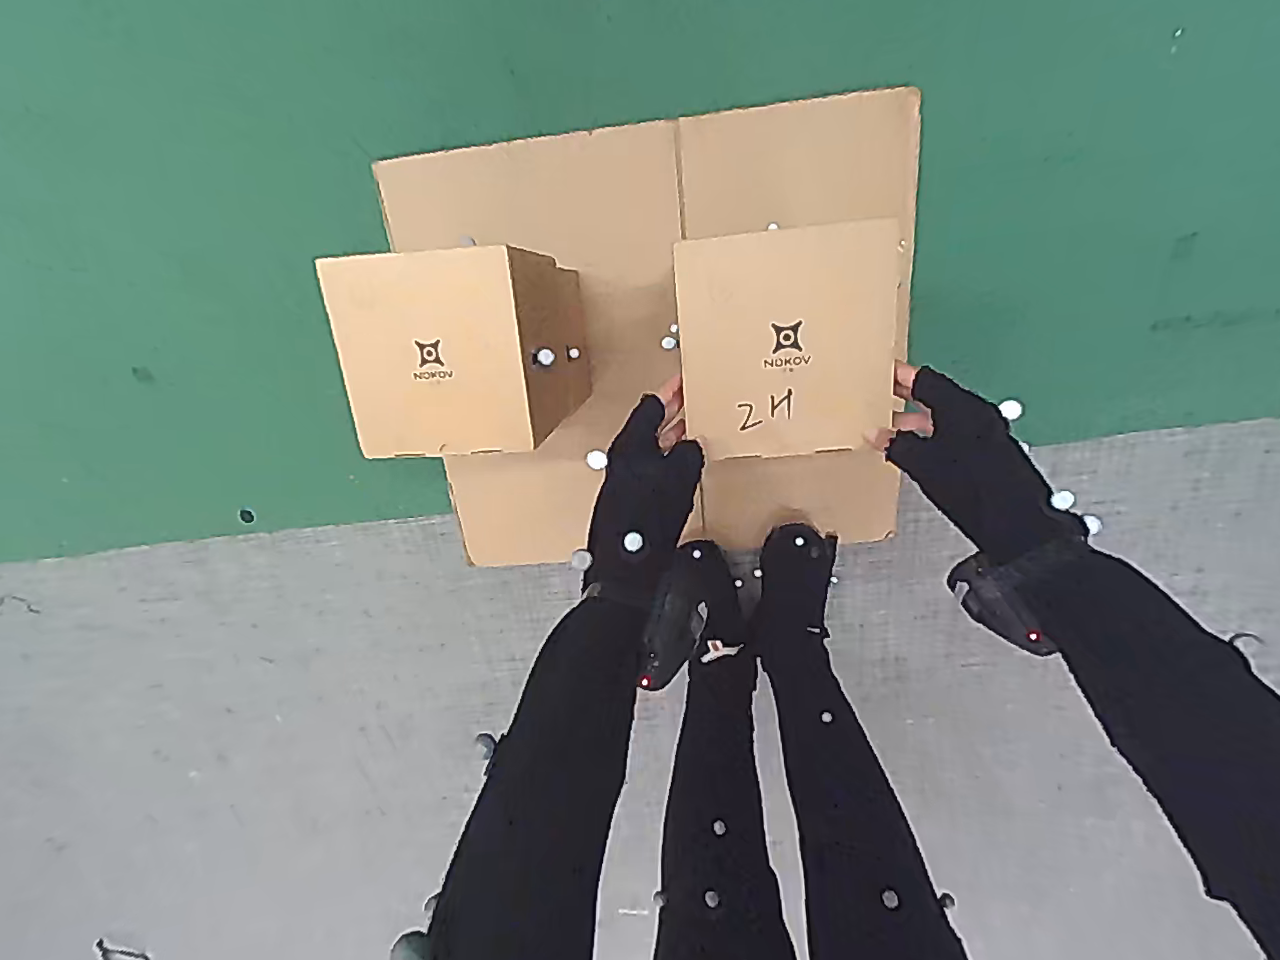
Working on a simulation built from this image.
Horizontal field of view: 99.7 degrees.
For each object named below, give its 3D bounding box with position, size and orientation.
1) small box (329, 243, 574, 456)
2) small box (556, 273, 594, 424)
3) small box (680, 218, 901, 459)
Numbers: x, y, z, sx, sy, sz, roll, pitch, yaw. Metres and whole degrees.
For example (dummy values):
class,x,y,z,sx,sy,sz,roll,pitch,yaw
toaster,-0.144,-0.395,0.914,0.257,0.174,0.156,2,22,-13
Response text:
class,x,y,z,sx,sy,sz,roll,pitch,yaw
small box,-0.169,-0.132,0.546,0.168,0.176,0.179,-2,109,6
small box,-0.160,-0.172,0.703,0.168,0.176,0.179,-3,108,7
small box,0.123,-0.126,0.501,0.168,0.176,0.179,-3,106,6
